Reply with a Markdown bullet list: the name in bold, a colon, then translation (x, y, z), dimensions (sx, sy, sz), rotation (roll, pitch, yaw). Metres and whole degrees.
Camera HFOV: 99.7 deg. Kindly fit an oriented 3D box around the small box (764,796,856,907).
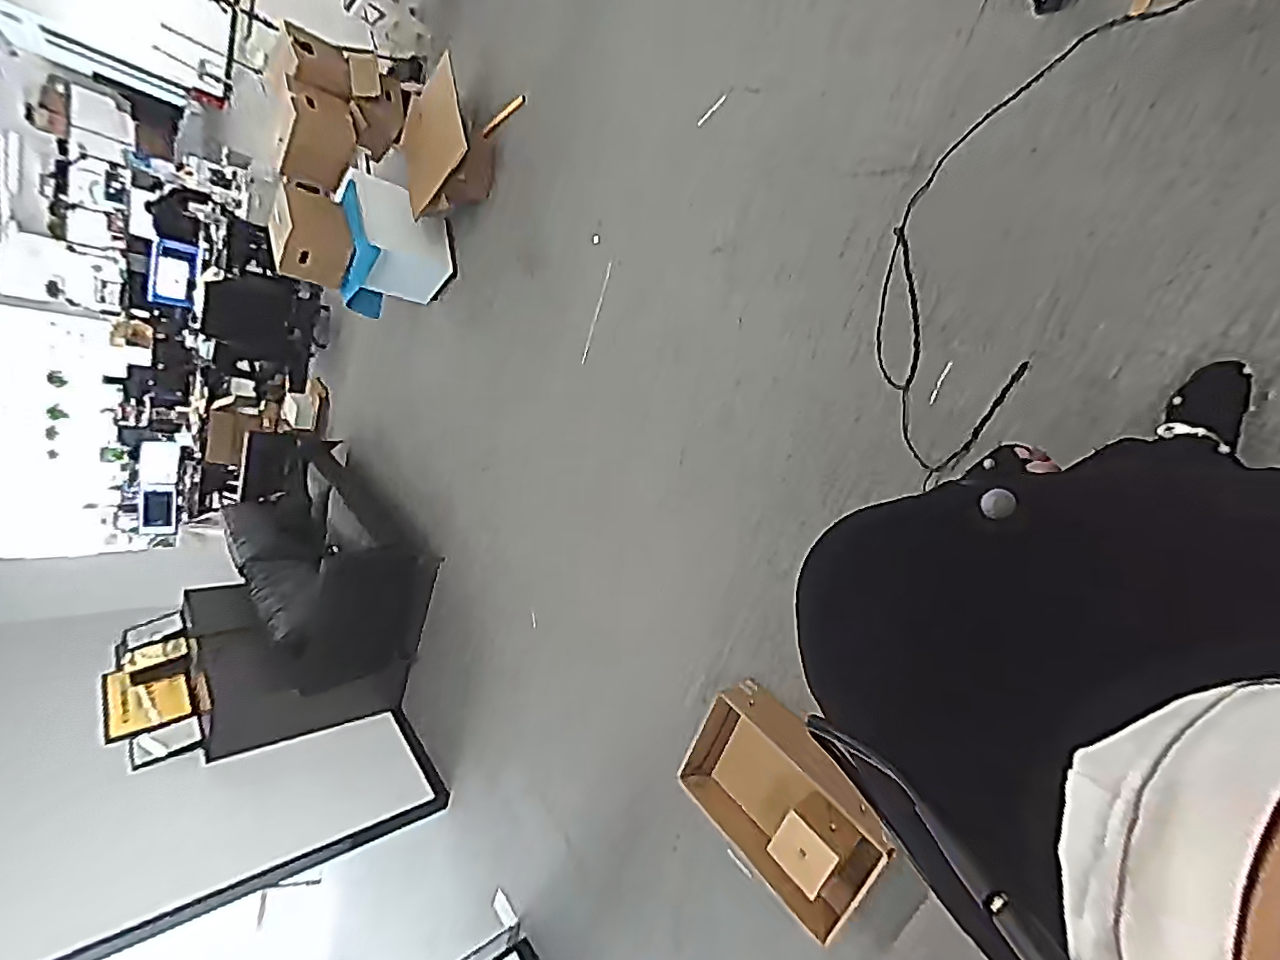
- **small box**: translation (0.501, 1.072, 1.577), dimensions (0.168, 0.176, 0.179), rotation (35, 112, 39)
